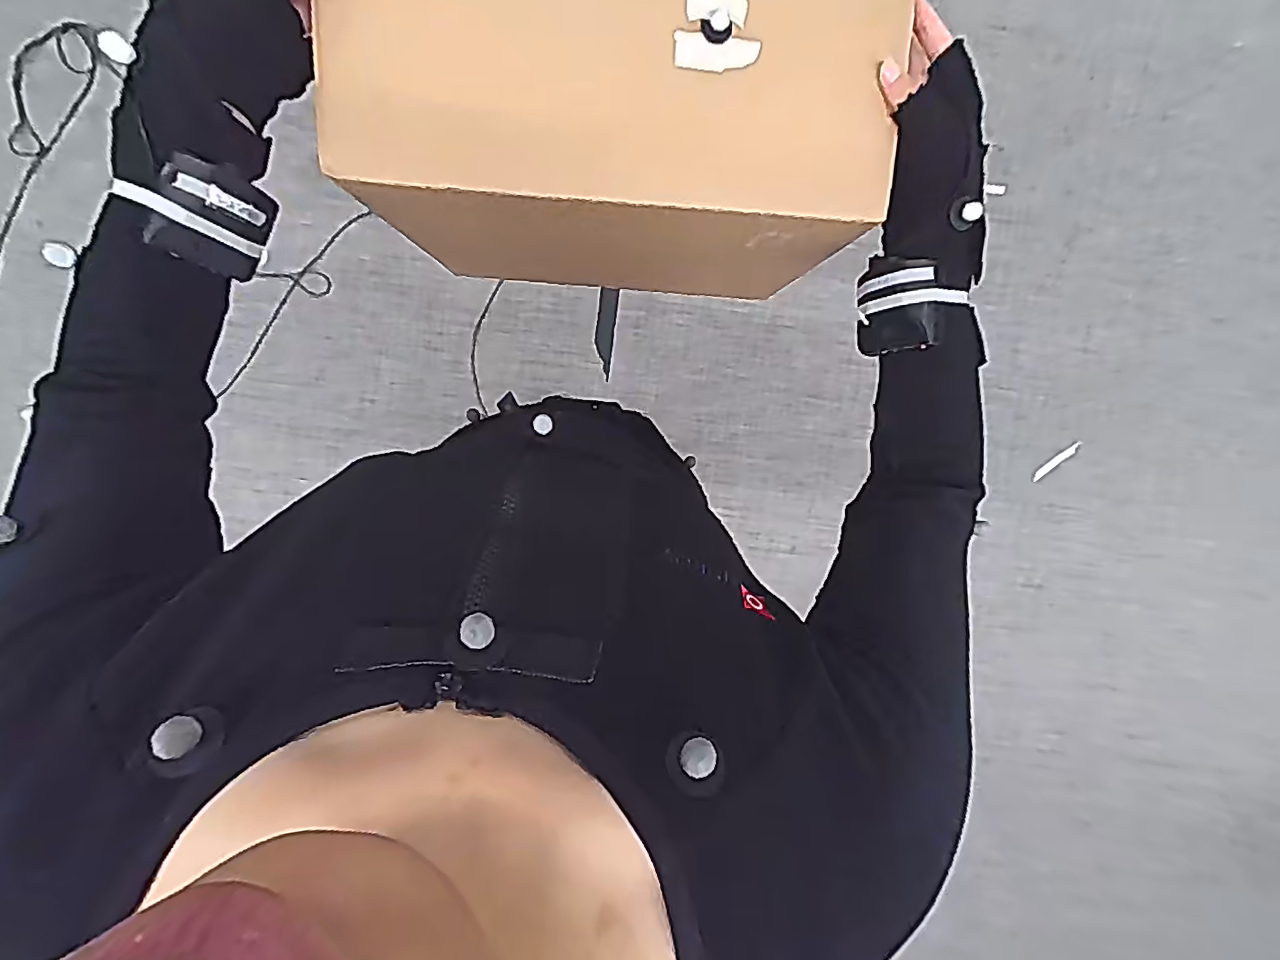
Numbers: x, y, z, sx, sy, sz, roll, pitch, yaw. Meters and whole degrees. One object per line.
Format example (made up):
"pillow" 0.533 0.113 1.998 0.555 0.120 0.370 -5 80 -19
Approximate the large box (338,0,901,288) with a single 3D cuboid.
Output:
"large box" -0.018 -0.385 0.524 0.408 0.320 0.320 3 99 -4
